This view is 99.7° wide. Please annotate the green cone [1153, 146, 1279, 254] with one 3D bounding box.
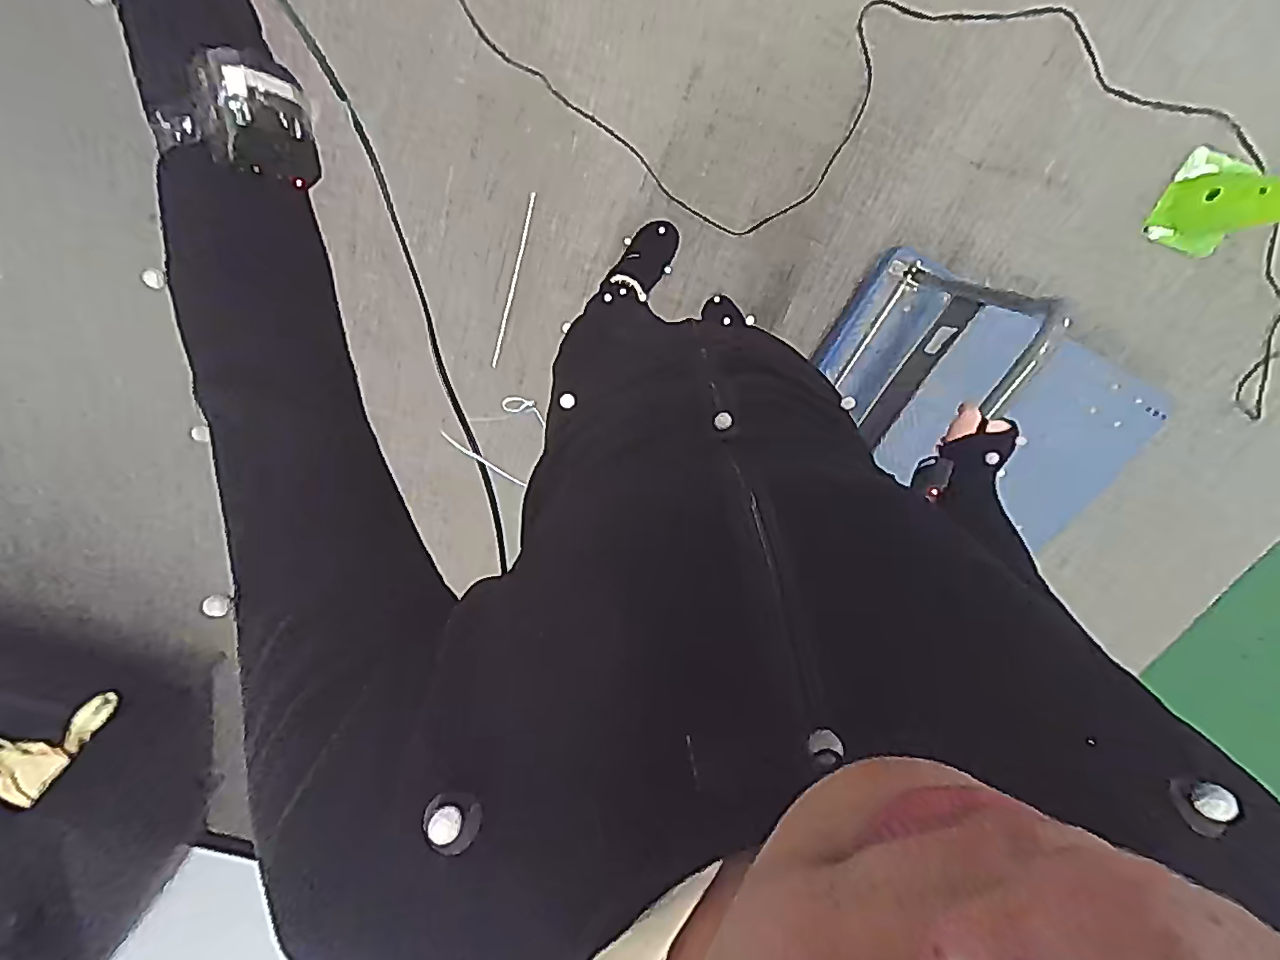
[{"bbox_3d":[1.371,-0.599,1.144,0.200,0.368,0.202,15,114,-5],"label":"green cone"}]
